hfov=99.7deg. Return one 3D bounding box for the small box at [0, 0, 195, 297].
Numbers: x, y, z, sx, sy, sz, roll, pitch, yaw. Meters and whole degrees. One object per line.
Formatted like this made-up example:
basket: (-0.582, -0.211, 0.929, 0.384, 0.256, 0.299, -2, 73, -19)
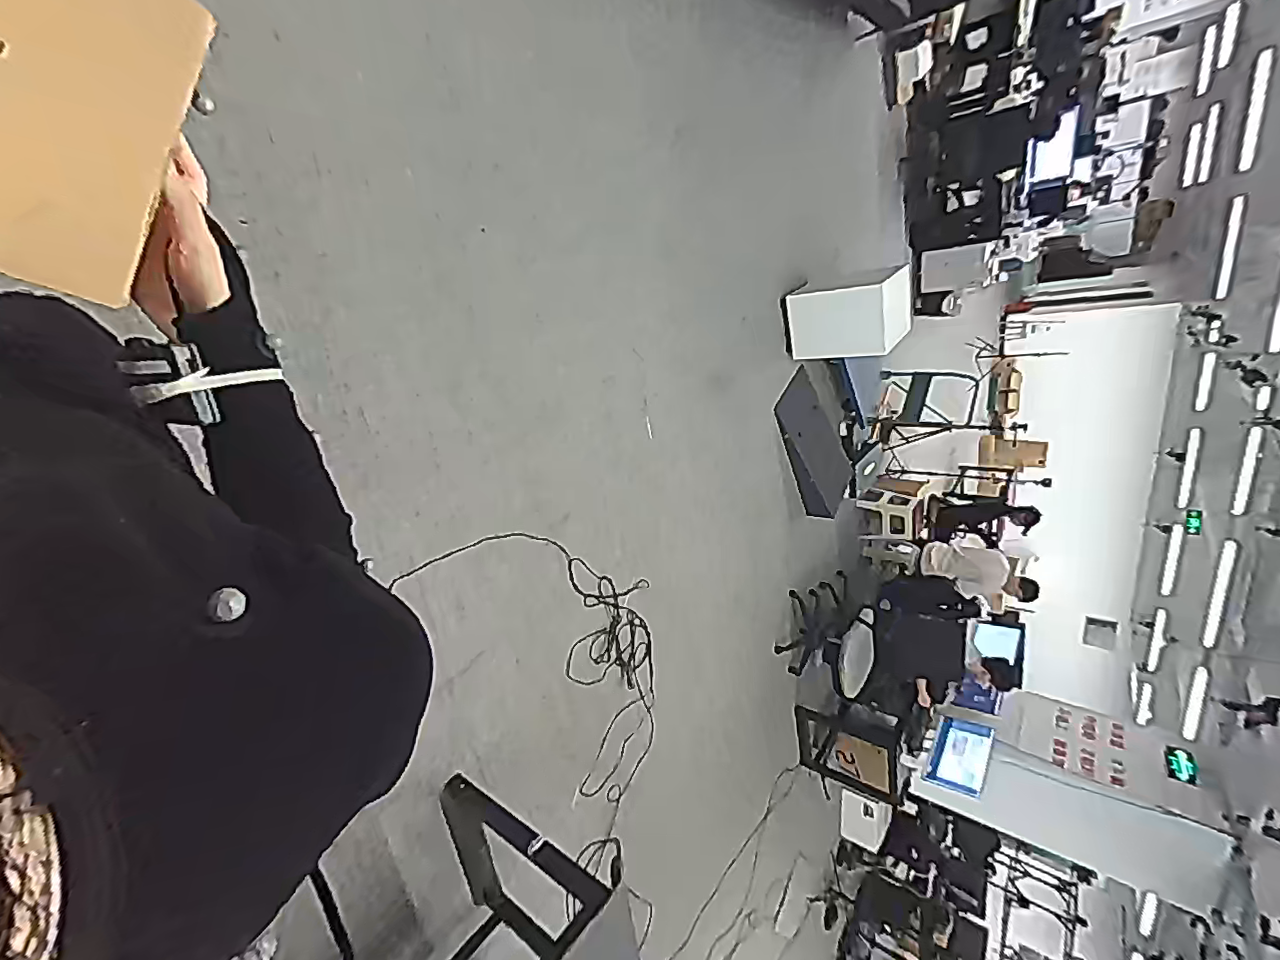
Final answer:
small box: (-0.378, -0.219, 0.287, 0.168, 0.176, 0.179, 18, 91, -51)
